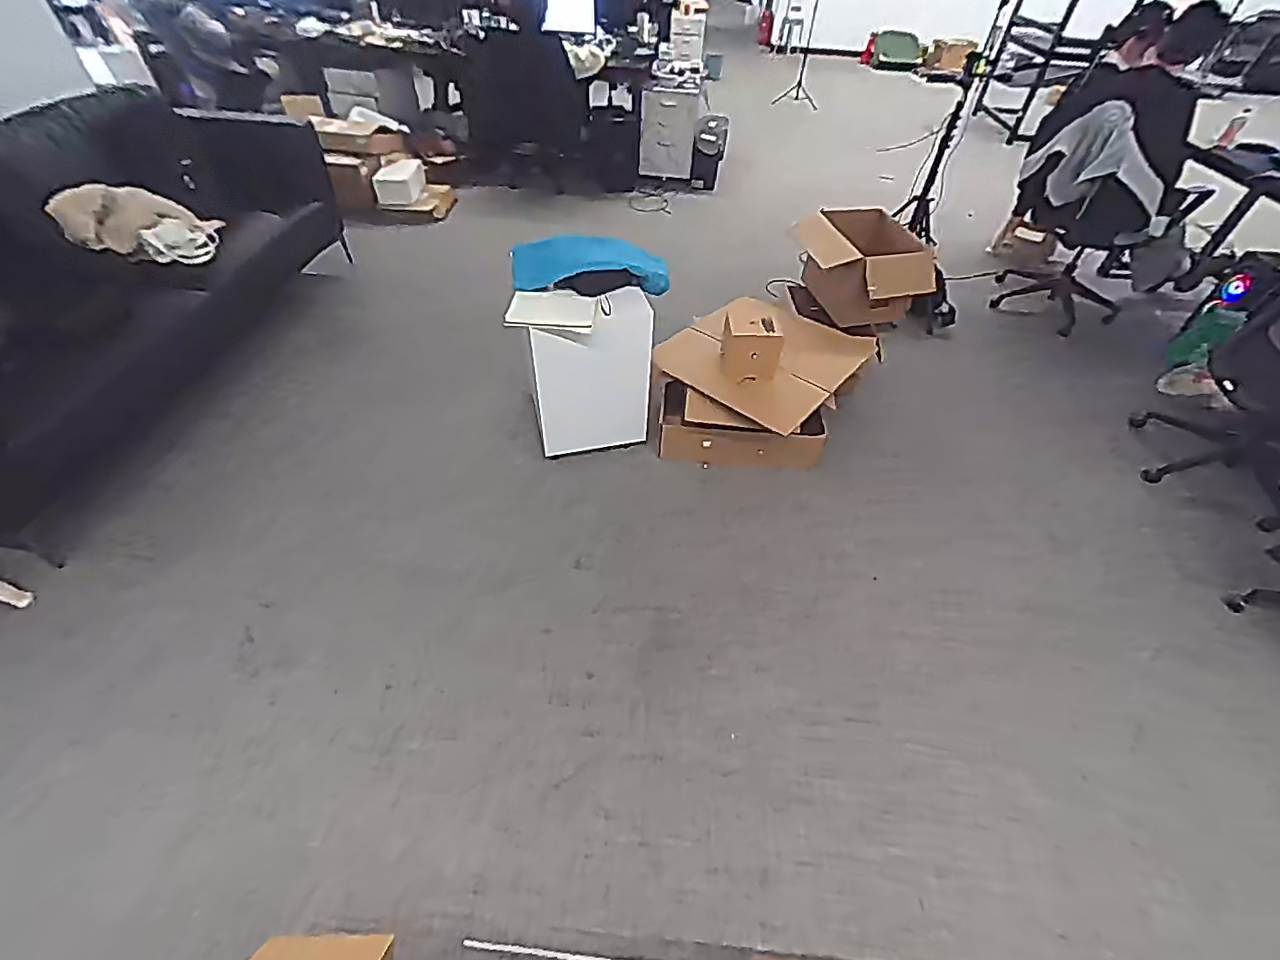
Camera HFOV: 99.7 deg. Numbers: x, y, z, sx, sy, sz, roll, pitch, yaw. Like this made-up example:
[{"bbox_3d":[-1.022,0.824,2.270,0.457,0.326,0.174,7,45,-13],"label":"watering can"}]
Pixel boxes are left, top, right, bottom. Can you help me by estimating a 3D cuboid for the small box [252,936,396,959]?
[{"bbox_3d":[-0.400,0.672,0.617,0.168,0.179,0.176,0,82,-2],"label":"small box"}]
